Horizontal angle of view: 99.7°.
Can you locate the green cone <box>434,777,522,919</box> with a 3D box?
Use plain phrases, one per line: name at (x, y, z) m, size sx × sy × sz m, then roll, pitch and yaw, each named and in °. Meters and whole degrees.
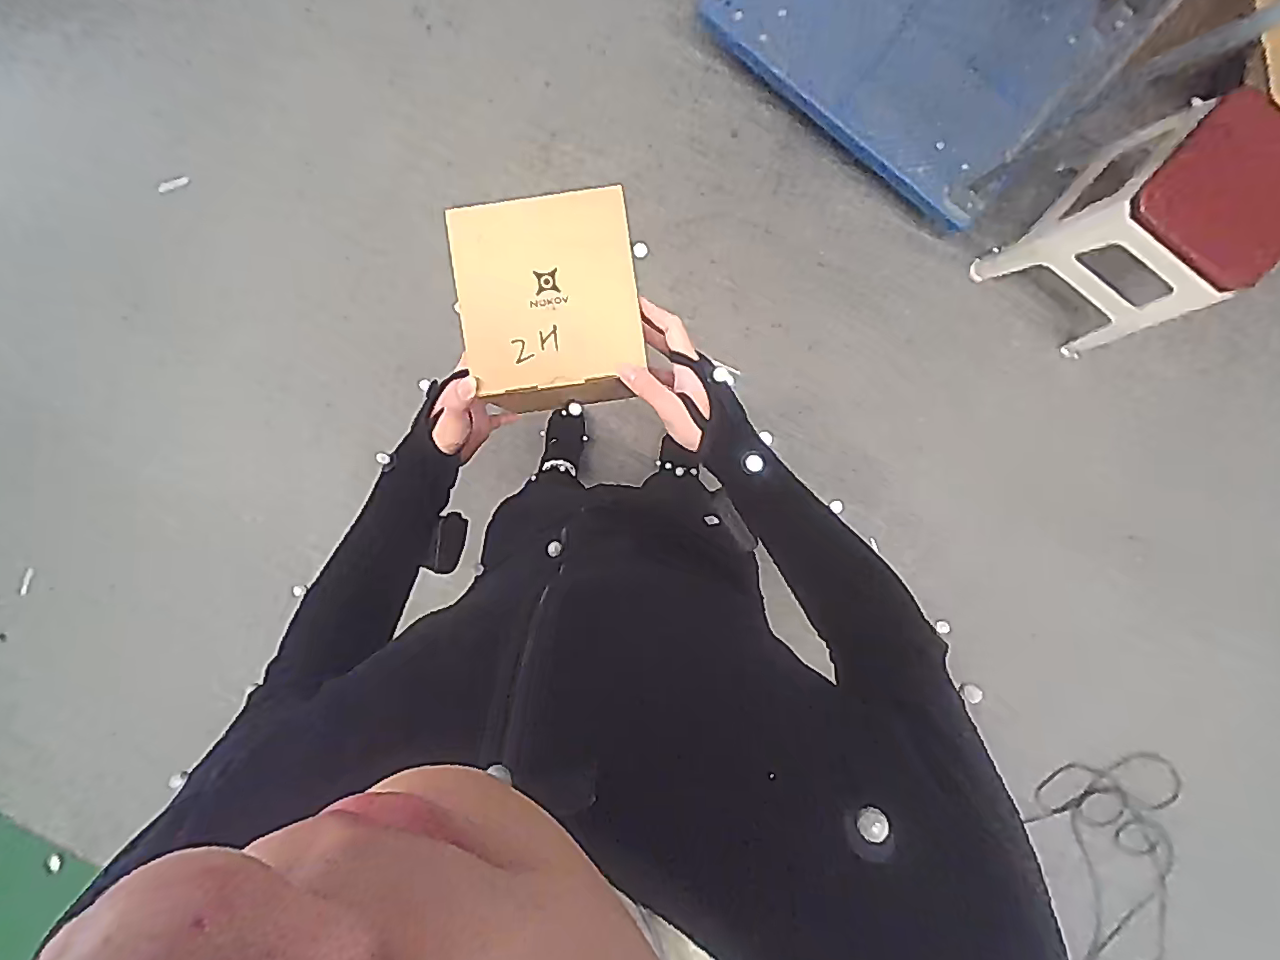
green cone at (-0.508, 1.087, 1.560) m, size 0.202 × 0.368 × 0.200 m, roll 27°, pitch 97°, yaw -1°
